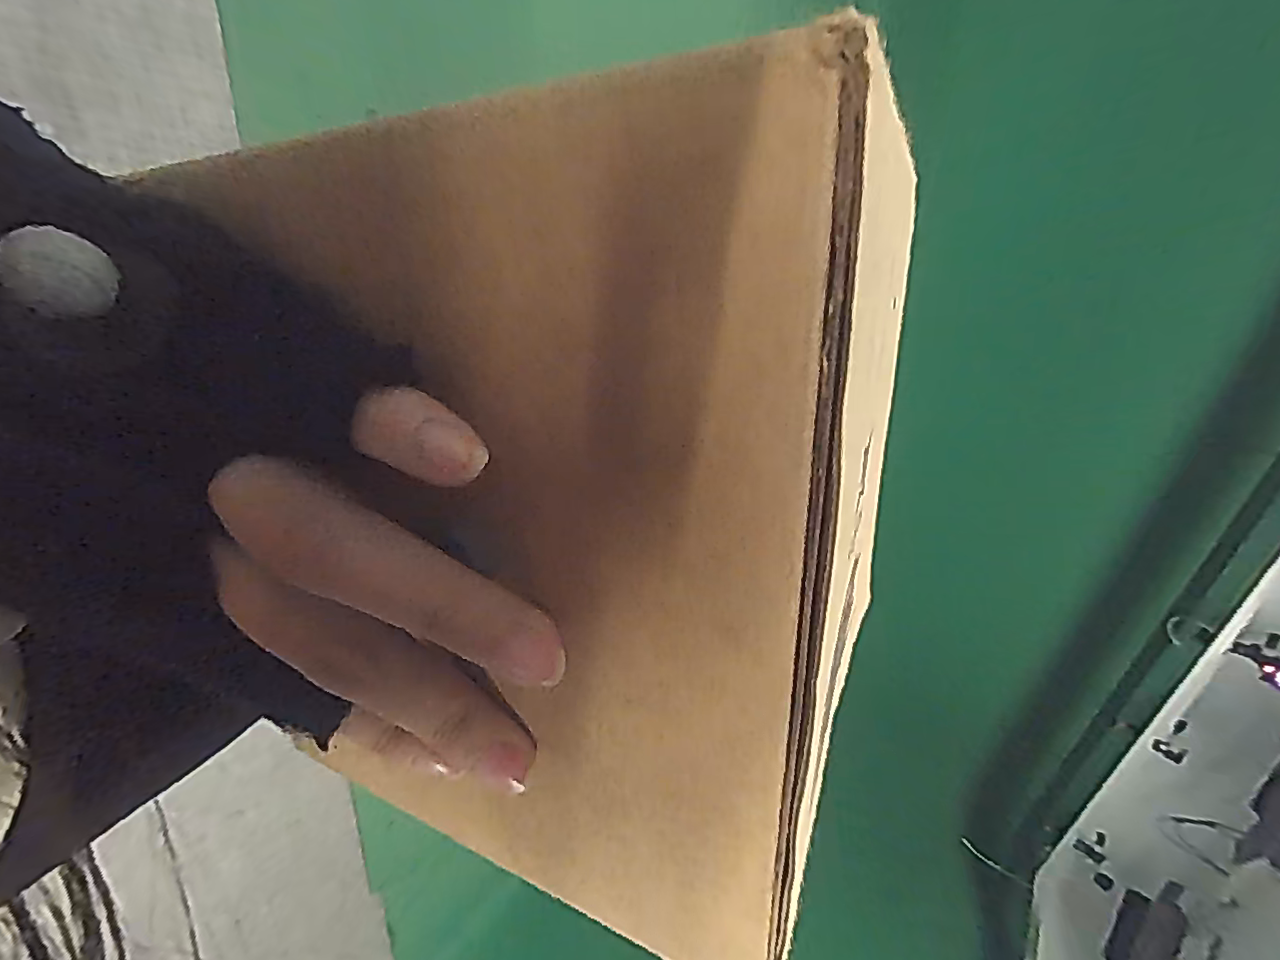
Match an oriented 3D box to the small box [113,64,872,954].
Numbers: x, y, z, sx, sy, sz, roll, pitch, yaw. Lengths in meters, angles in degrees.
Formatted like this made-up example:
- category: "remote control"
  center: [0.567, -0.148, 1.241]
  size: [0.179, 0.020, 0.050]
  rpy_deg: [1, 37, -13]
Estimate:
- category: "small box"
  center: [-0.024, -0.006, 0.195]
  size: [0.168, 0.176, 0.179]
  rpy_deg: [-38, 130, -57]
